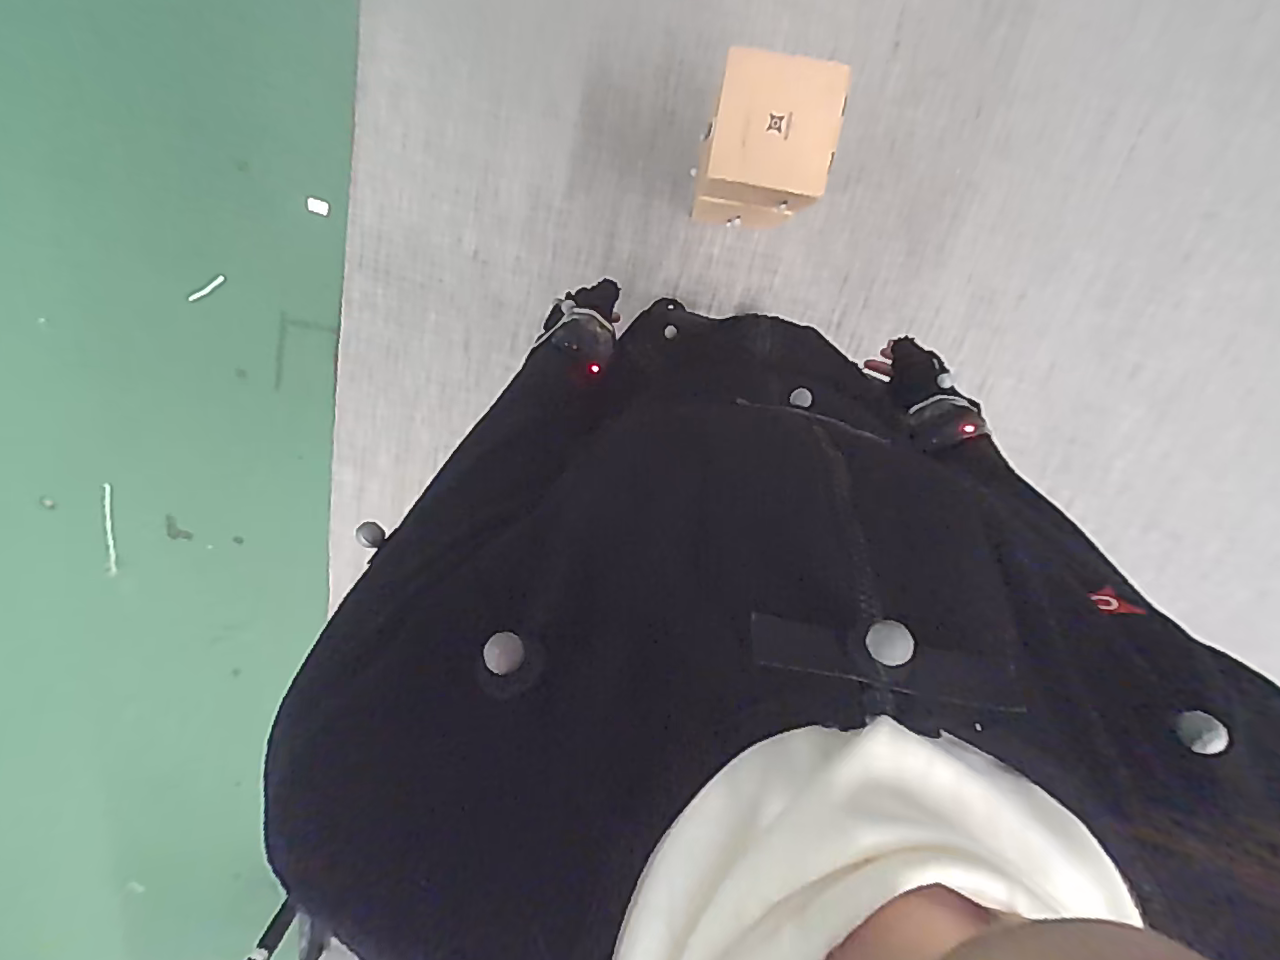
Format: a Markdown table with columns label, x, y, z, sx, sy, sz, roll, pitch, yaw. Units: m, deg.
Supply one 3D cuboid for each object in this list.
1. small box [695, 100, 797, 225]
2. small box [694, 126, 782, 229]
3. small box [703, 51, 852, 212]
| label | x | y | z | sx | sy | sz | roll | pitch | yaw |
| --- | --- | --- | --- | --- | --- | --- | --- | --- | --- |
| small box | 0.205 | -0.579 | 1.000 | 0.179 | 0.176 | 0.168 | 10 | 110 | 0 |
| small box | 0.215 | -0.637 | 1.152 | 0.179 | 0.176 | 0.168 | 5 | 110 | 1 |
| small box | 0.200 | -0.528 | 0.845 | 0.179 | 0.176 | 0.168 | 9 | 109 | 1 |
